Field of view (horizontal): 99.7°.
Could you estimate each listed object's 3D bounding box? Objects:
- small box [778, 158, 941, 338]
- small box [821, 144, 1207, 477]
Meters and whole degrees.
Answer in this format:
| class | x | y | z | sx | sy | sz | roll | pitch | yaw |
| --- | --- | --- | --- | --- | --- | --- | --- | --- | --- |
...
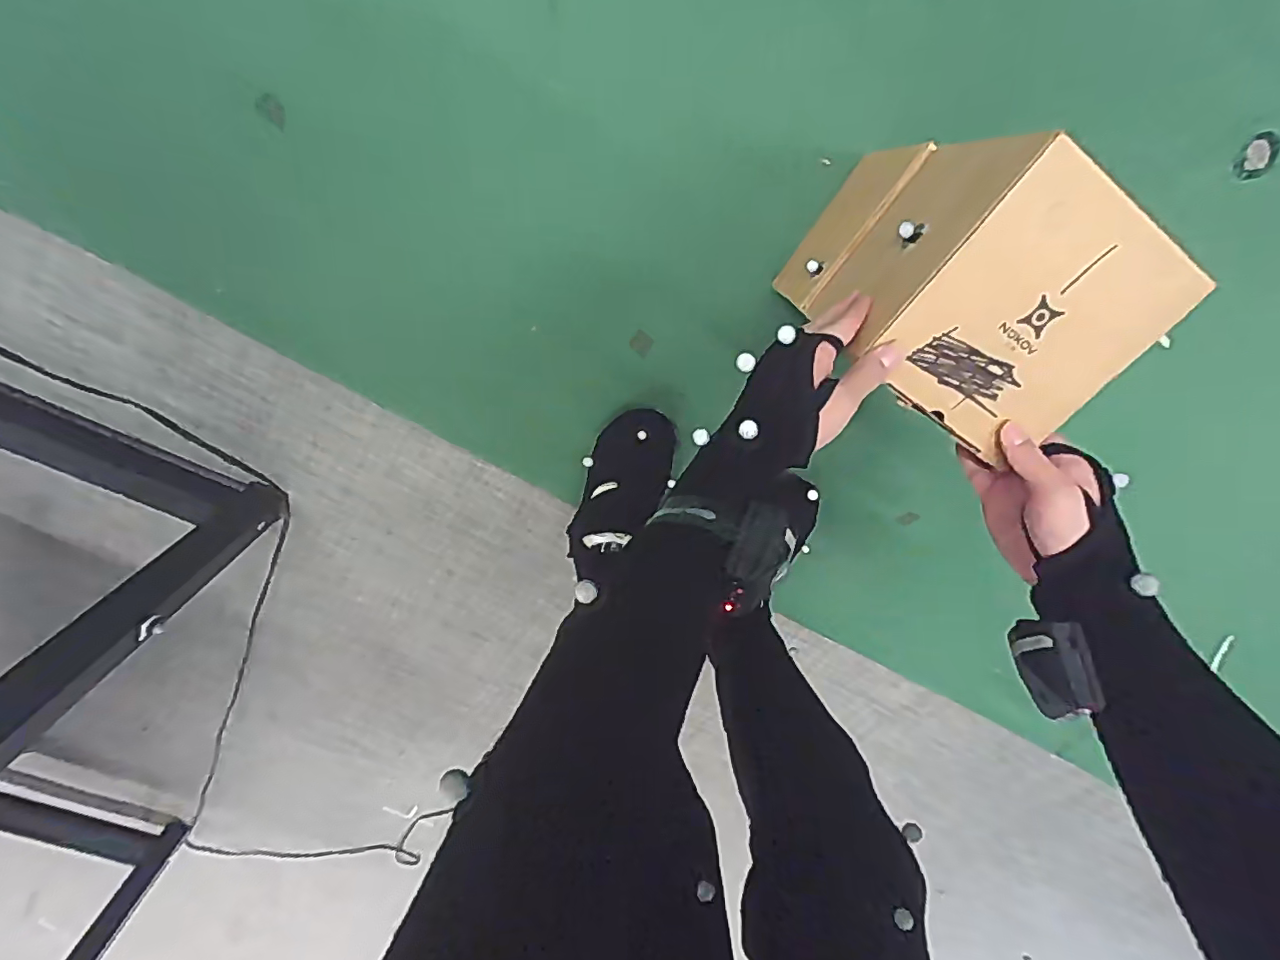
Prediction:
| class | x | y | z | sx | sy | sz | roll | pitch | yaw |
| --- | --- | --- | --- | --- | --- | --- | --- | --- | --- |
| small box | 0.279 | -0.225 | 0.605 | 0.168 | 0.176 | 0.179 | 30 | 115 | -14 |
| small box | 0.276 | -0.140 | 0.454 | 0.168 | 0.176 | 0.179 | 31 | 114 | -14 |
